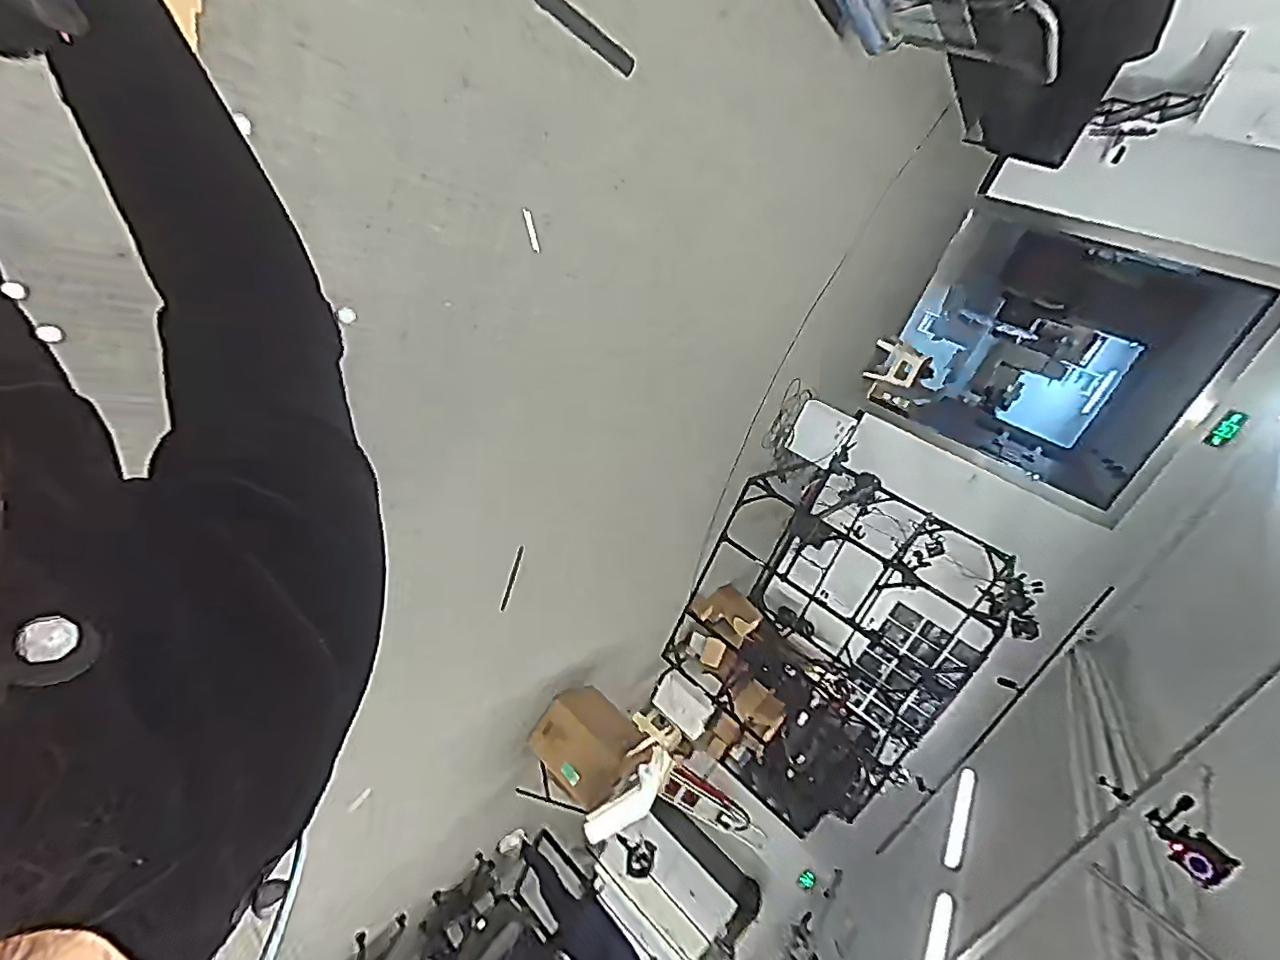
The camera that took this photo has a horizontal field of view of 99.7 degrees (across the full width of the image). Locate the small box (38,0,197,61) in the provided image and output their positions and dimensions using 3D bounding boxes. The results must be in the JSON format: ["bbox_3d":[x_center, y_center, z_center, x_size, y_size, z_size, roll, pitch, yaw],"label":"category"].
[{"bbox_3d":[-0.761,-0.736,0.759,0.179,0.176,0.168,-13,131,-54],"label":"small box"}]
